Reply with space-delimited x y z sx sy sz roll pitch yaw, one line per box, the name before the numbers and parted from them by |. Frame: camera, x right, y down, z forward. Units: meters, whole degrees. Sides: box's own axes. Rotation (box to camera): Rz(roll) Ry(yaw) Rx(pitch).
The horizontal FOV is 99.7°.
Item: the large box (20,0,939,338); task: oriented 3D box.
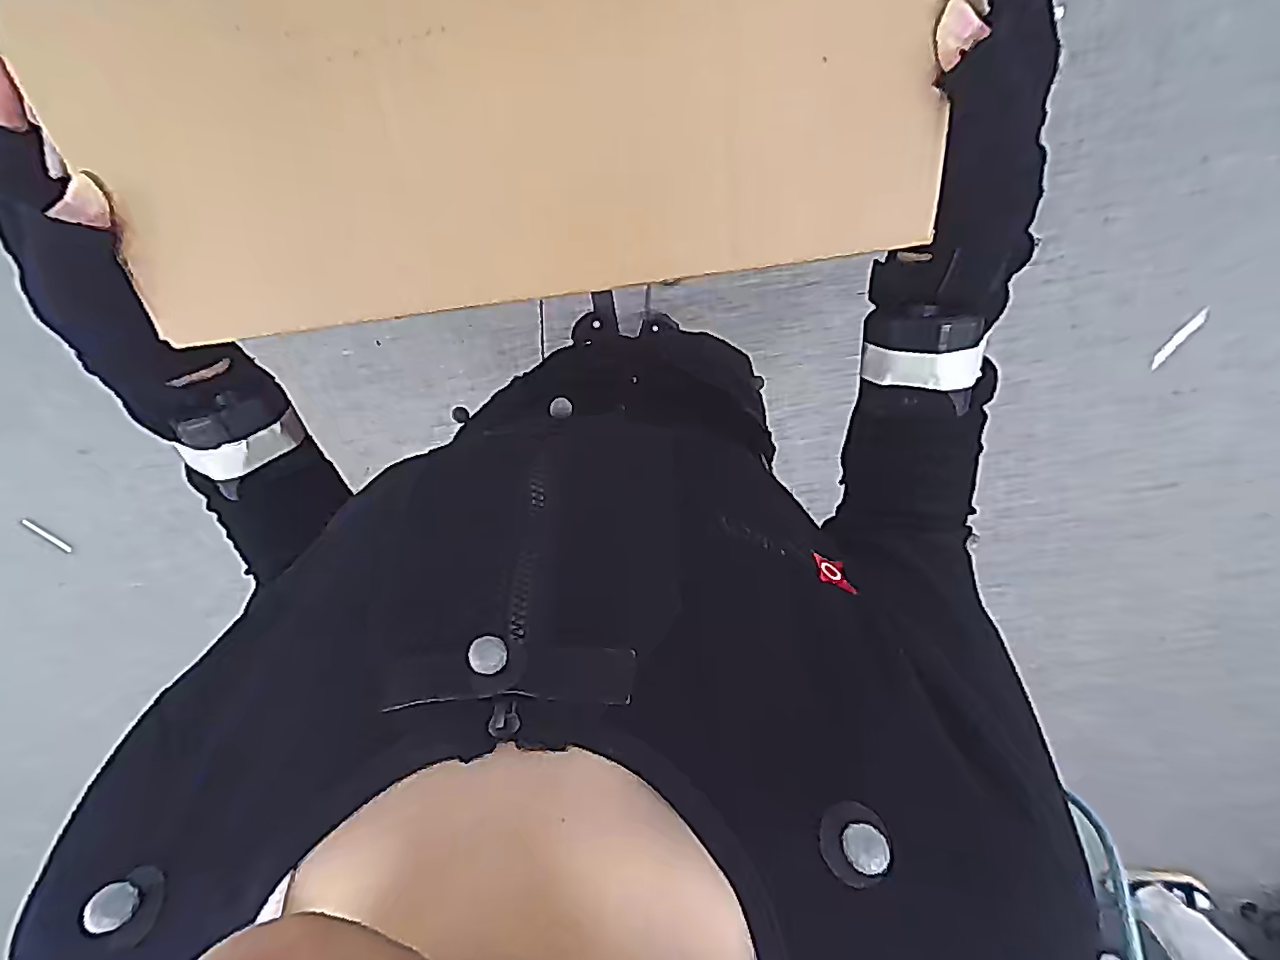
large box | -0.075 -0.308 0.350 0.408 0.320 0.320 -7 119 3
